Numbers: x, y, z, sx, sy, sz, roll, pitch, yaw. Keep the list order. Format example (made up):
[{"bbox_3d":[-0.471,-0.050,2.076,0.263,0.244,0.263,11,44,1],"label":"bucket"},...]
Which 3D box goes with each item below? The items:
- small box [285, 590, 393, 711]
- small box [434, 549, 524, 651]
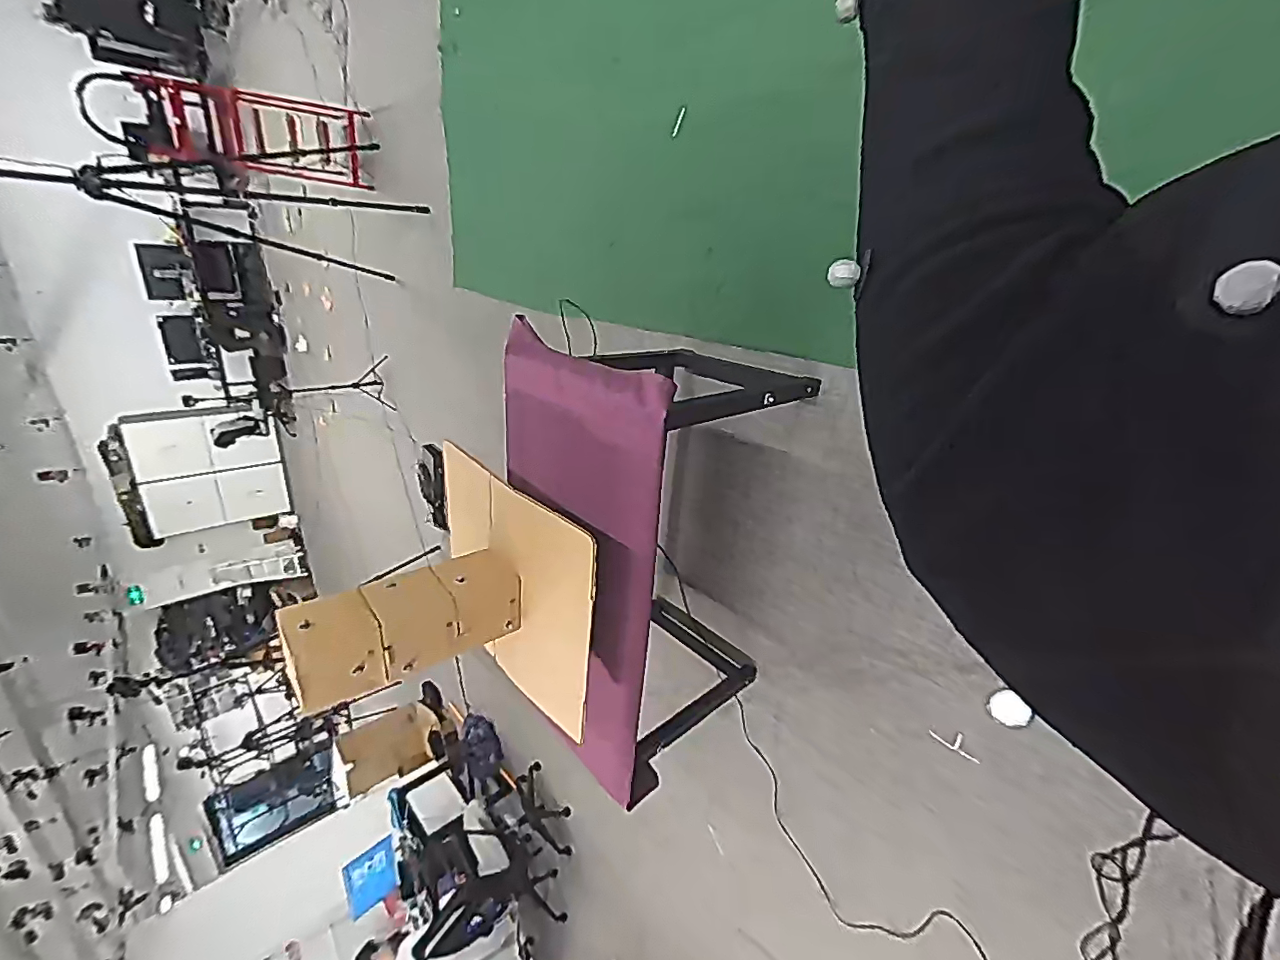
[{"bbox_3d":[-0.663,0.363,1.198,0.179,0.176,0.168,28,123,43],"label":"small box"},{"bbox_3d":[-0.413,0.300,1.400,0.179,0.176,0.168,30,124,42],"label":"small box"}]
